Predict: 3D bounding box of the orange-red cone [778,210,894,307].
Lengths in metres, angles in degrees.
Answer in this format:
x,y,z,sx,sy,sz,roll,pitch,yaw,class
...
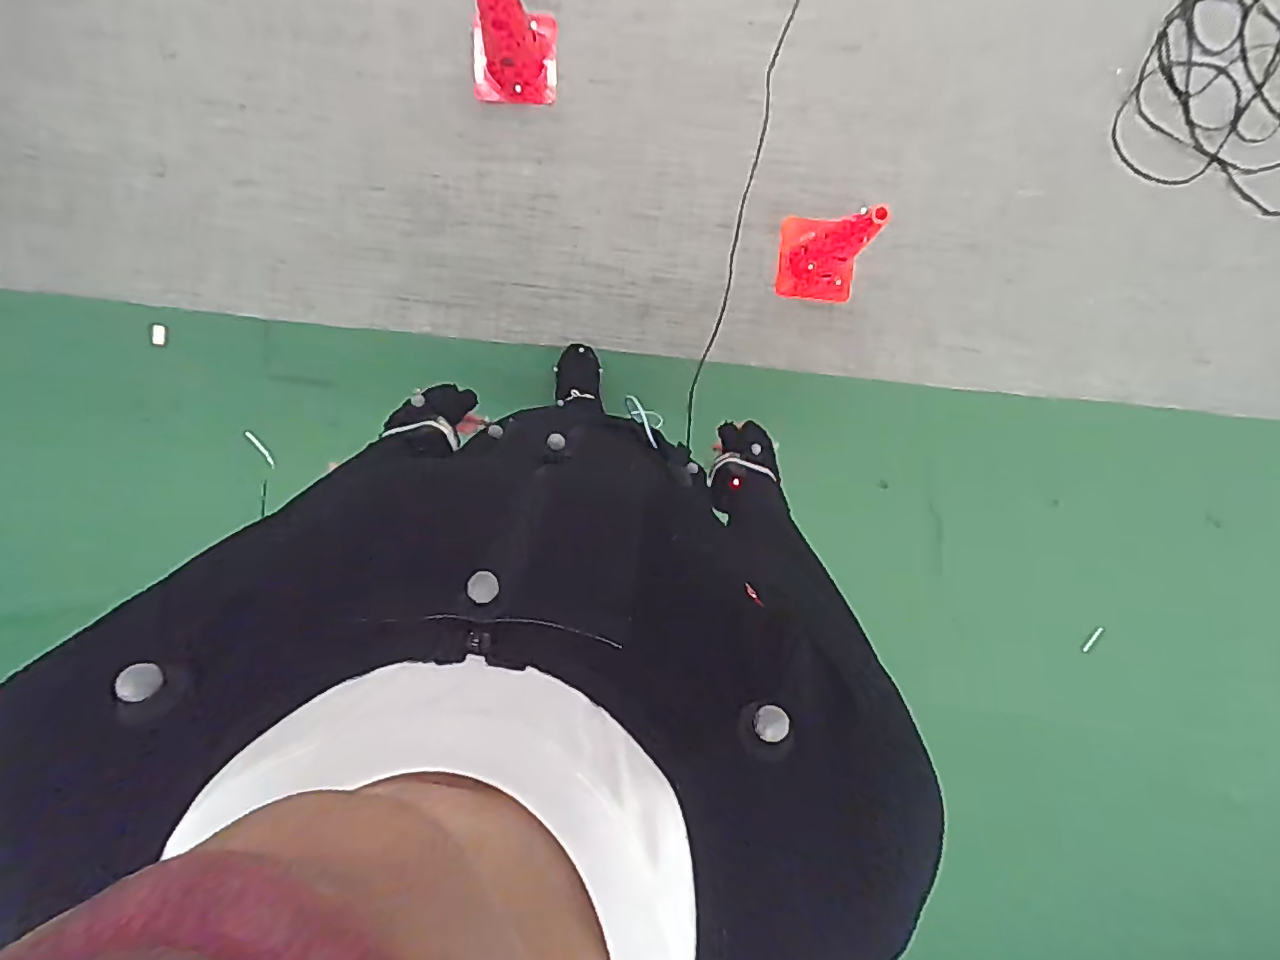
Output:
x,y,z,sx,sy,sz,roll,pitch,yaw,class
0.473,-0.541,1.240,0.198,0.360,0.199,6,97,-4,orange-red cone

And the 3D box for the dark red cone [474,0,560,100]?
x,y,z,sx,sy,sz,roll,pitch,yaw,class
-0.288,-0.994,1.130,0.202,0.394,0.201,0,99,-2,dark red cone
